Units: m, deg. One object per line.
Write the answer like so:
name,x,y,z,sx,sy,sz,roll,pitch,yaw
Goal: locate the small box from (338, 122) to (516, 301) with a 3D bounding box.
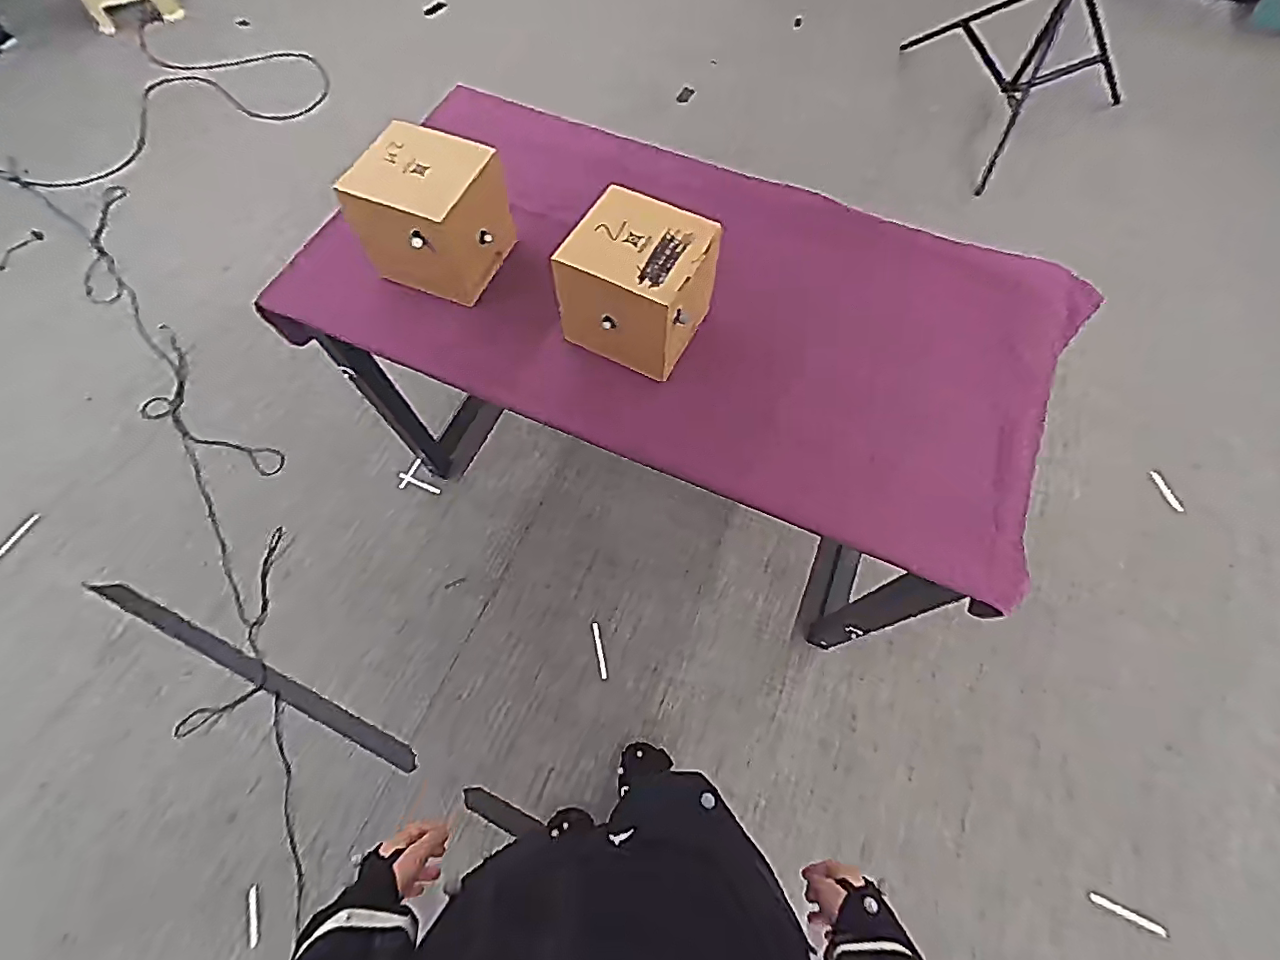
small box,-0.315,-0.410,0.846,0.179,0.176,0.168,20,66,8
